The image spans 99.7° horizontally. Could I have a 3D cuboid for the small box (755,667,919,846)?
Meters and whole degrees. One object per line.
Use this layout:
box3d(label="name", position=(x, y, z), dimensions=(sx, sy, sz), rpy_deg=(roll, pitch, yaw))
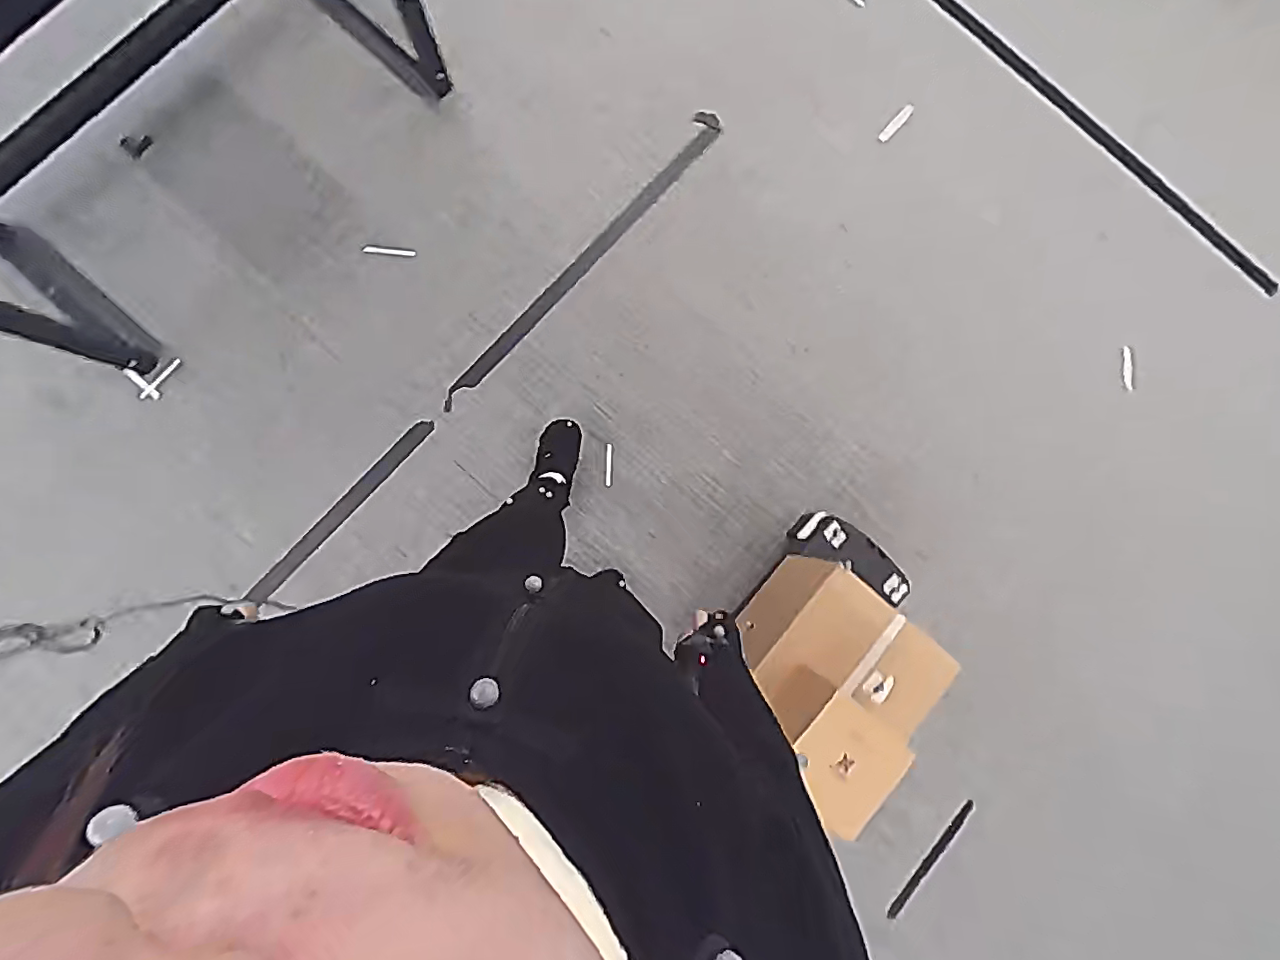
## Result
box3d(label="small box", position=(0.315, 0.450, 0.912), dimensions=(0.168, 0.176, 0.179), rpy_deg=(43, 84, 1))

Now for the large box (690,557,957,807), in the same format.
box3d(label="large box", position=(0.362, 0.419, 1.164), dimensions=(0.320, 0.320, 0.408), rpy_deg=(41, 84, 0))
